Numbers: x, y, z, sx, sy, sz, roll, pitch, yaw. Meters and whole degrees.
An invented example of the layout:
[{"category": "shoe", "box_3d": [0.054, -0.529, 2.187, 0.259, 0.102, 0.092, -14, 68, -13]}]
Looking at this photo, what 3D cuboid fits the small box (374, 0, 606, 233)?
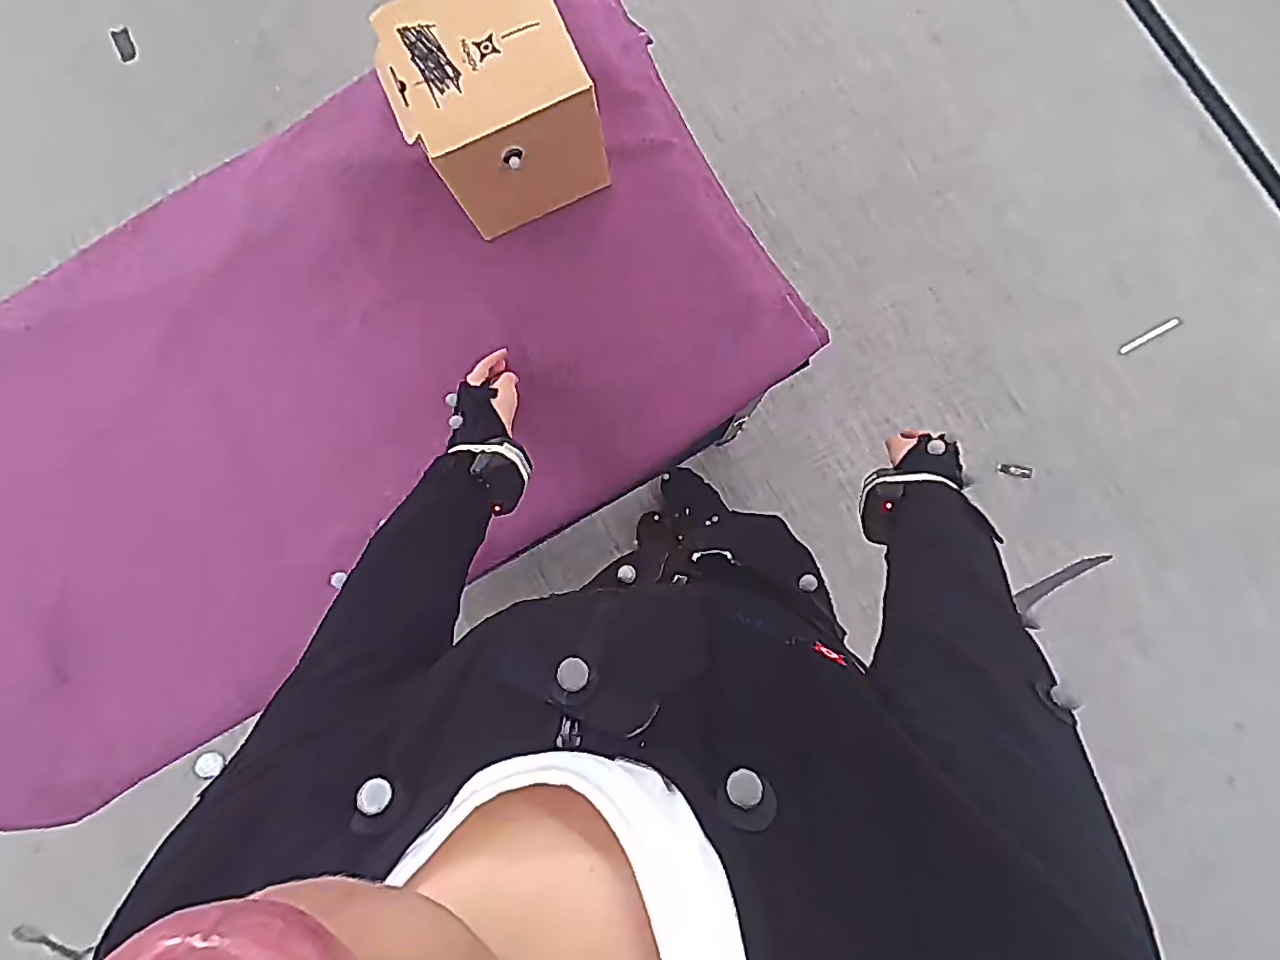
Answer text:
[{"category": "small box", "box_3d": [-0.153, -0.416, 0.611, 0.179, 0.176, 0.168, -24, 88, 1]}]
